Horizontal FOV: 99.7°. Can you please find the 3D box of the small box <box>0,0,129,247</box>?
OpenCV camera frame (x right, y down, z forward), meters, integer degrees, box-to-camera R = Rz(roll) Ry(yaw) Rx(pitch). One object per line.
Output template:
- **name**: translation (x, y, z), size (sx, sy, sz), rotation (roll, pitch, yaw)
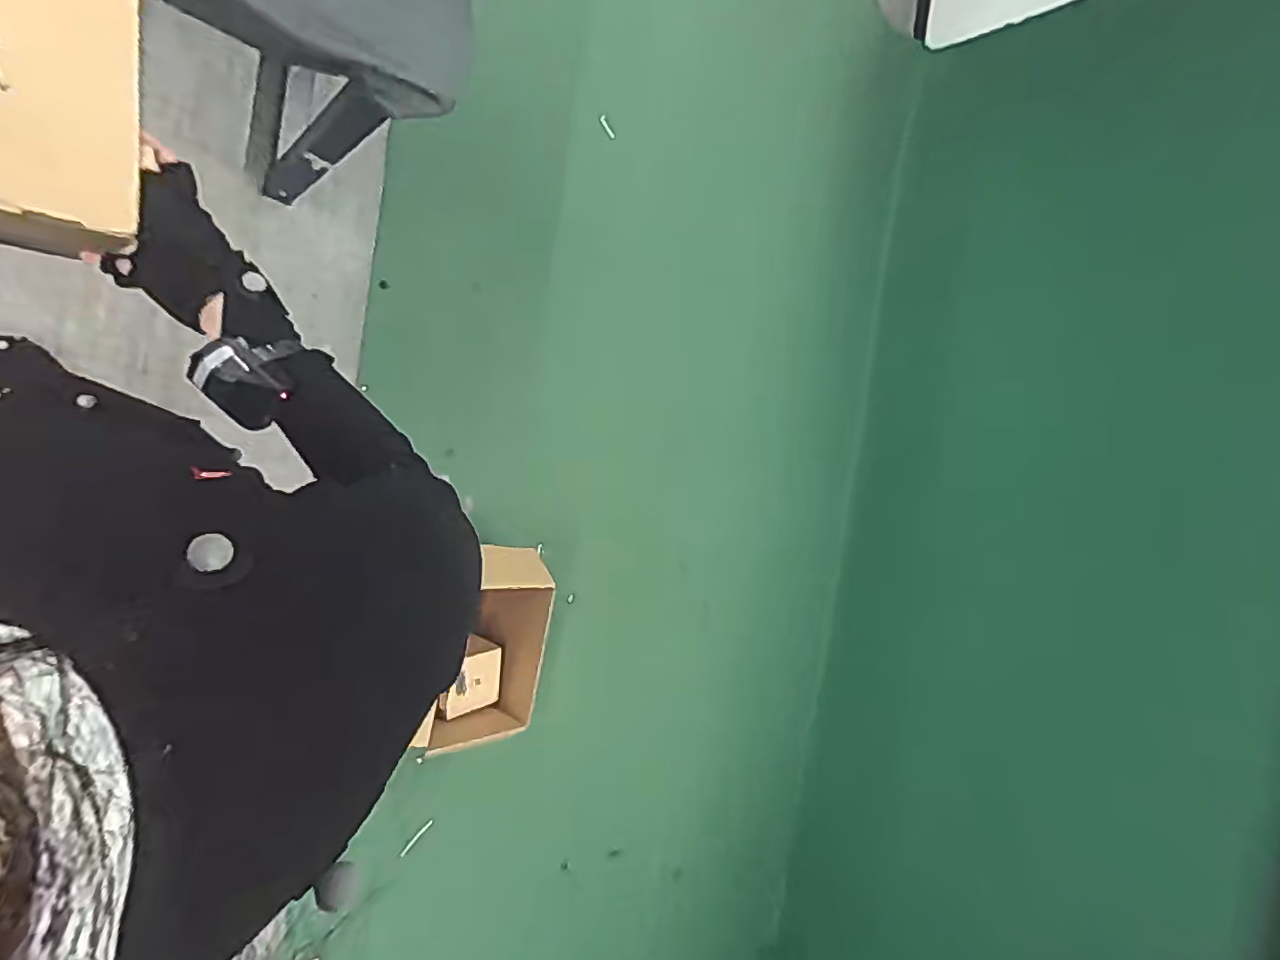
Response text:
- **small box**: translation (-0.498, -0.289, 0.388), size (0.168, 0.176, 0.179), rotation (-2, 99, -53)
